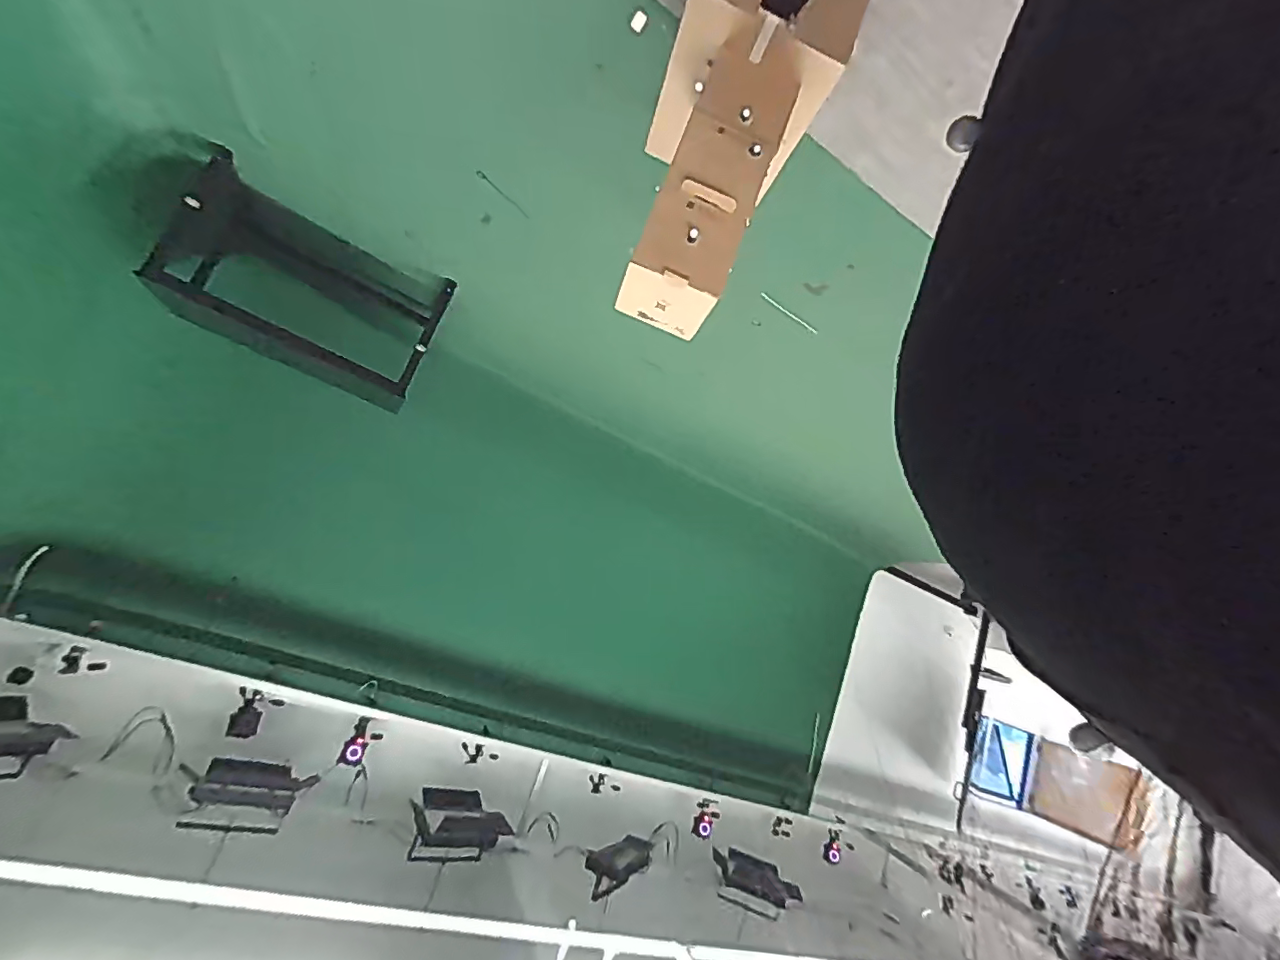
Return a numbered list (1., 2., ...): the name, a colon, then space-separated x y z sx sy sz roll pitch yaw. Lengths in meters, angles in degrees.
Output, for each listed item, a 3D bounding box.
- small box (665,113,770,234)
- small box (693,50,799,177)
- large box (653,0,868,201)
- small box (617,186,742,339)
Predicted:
1. small box: 0.132 -0.549 1.038 0.168 0.176 0.179 22 167 -6
2. small box: 0.190 -0.697 1.078 0.179 0.176 0.168 22 167 -8
3. large box: 0.254 -0.918 1.170 0.320 0.320 0.408 23 168 -7
4. small box: 0.073 -0.399 1.004 0.168 0.176 0.179 22 166 -7
